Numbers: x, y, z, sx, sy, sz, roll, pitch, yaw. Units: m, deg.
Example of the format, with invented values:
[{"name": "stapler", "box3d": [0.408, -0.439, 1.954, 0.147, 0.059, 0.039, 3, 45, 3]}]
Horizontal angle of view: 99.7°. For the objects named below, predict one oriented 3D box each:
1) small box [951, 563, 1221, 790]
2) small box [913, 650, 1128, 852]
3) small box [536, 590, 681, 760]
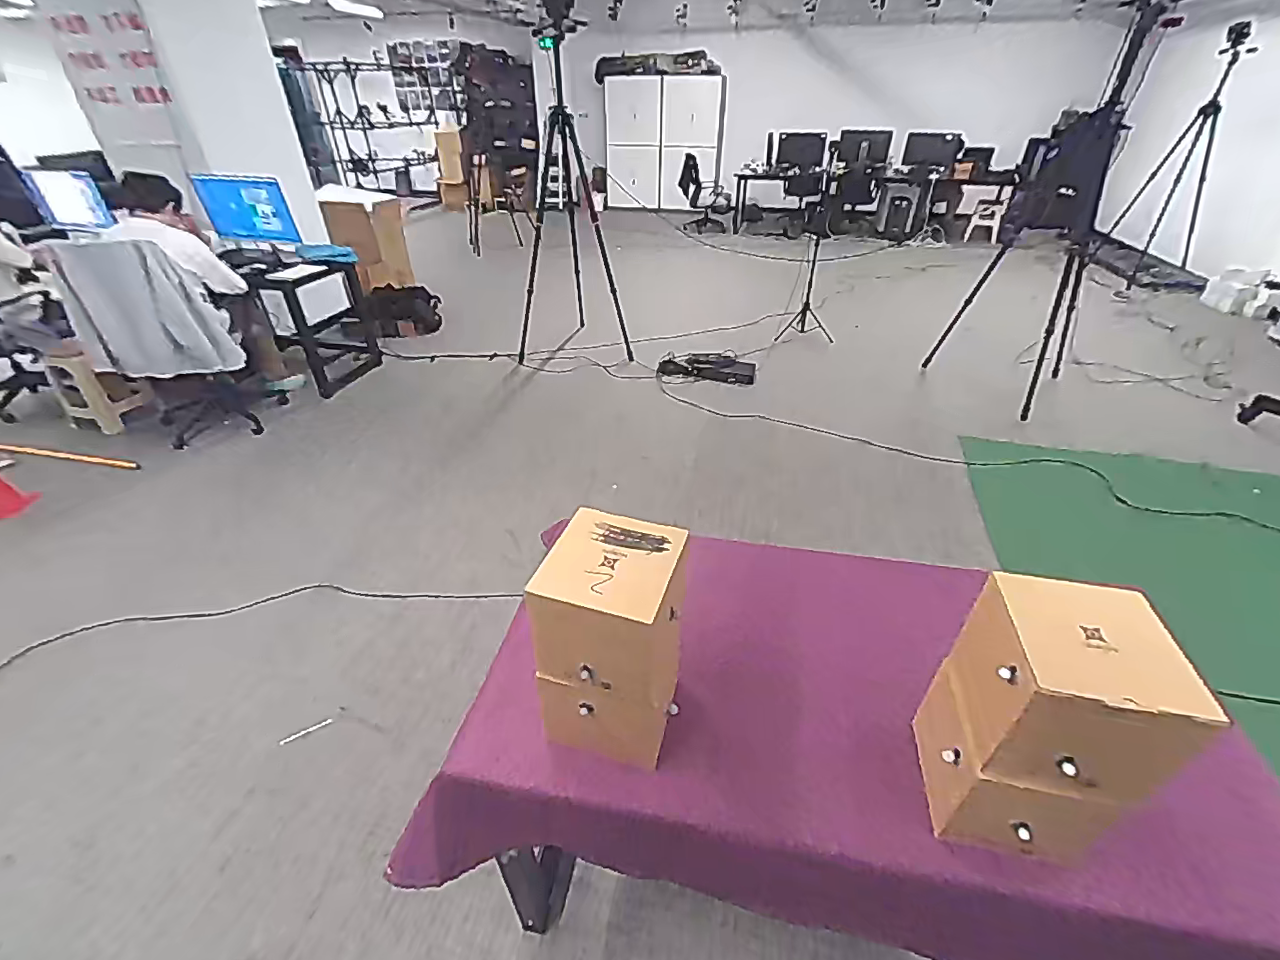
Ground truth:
[{"name": "small box", "box3d": [0.499, 0.230, 0.647, 0.168, 0.176, 0.179, 7, 37, 10]}, {"name": "small box", "box3d": [0.493, 0.366, 0.736, 0.168, 0.176, 0.179, 7, 36, 10]}, {"name": "small box", "box3d": [-0.041, 0.301, 0.836, 0.179, 0.176, 0.168, 9, 36, 12]}]
